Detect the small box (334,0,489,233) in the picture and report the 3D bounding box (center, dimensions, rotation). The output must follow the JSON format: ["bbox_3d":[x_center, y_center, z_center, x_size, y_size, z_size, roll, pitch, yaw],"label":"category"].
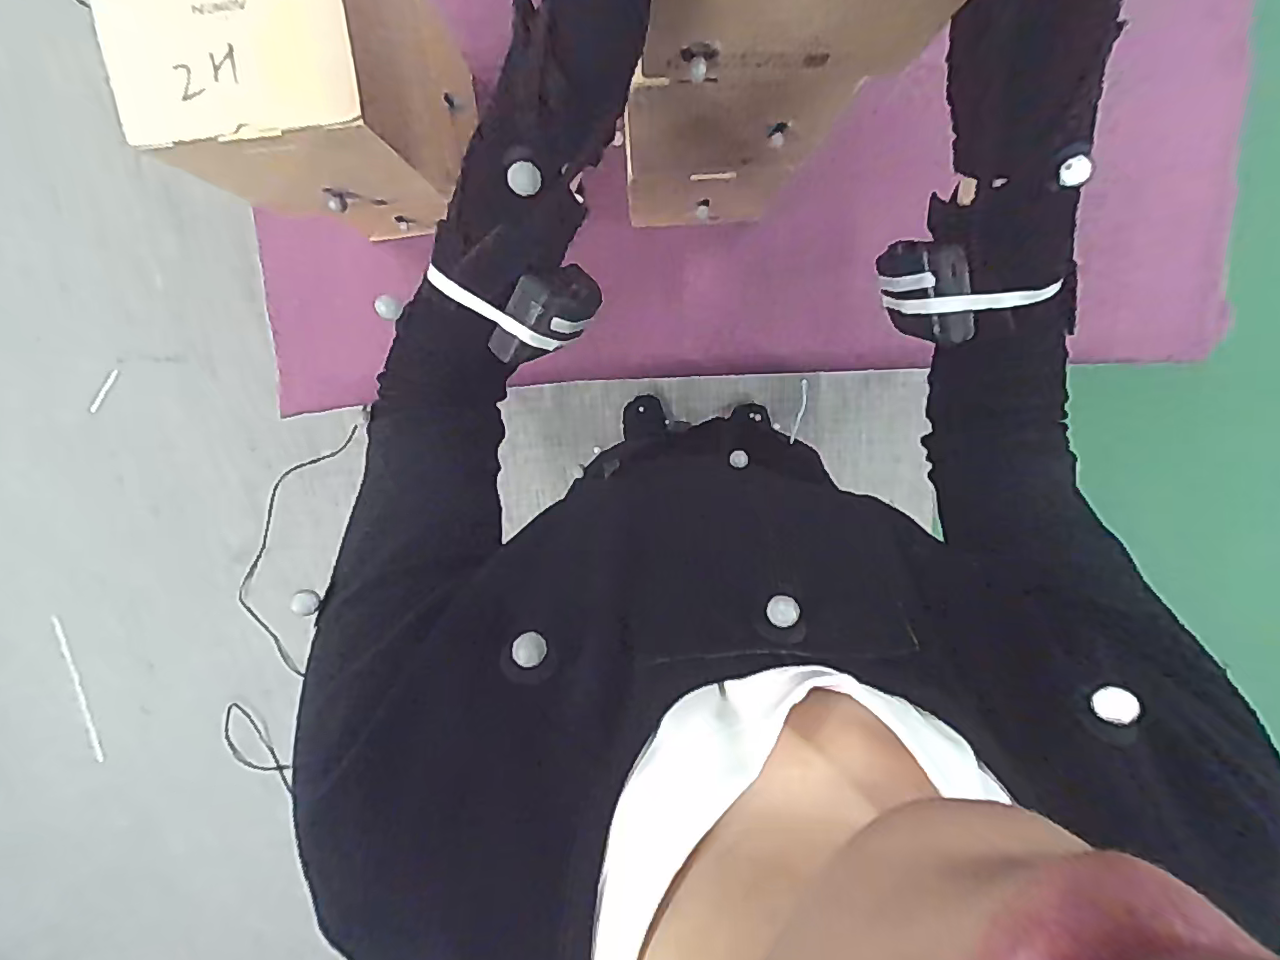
[{"bbox_3d":[-0.275,-0.388,0.583,0.168,0.176,0.179,-7,101,1],"label":"small box"}]

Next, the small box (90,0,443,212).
[{"bbox_3d":[-0.273,-0.334,0.426,0.168,0.176,0.179,-5,102,1],"label":"small box"}]

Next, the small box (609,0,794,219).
[{"bbox_3d":[0.062,-0.397,0.584,0.168,0.176,0.179,-6,100,2],"label":"small box"}]
